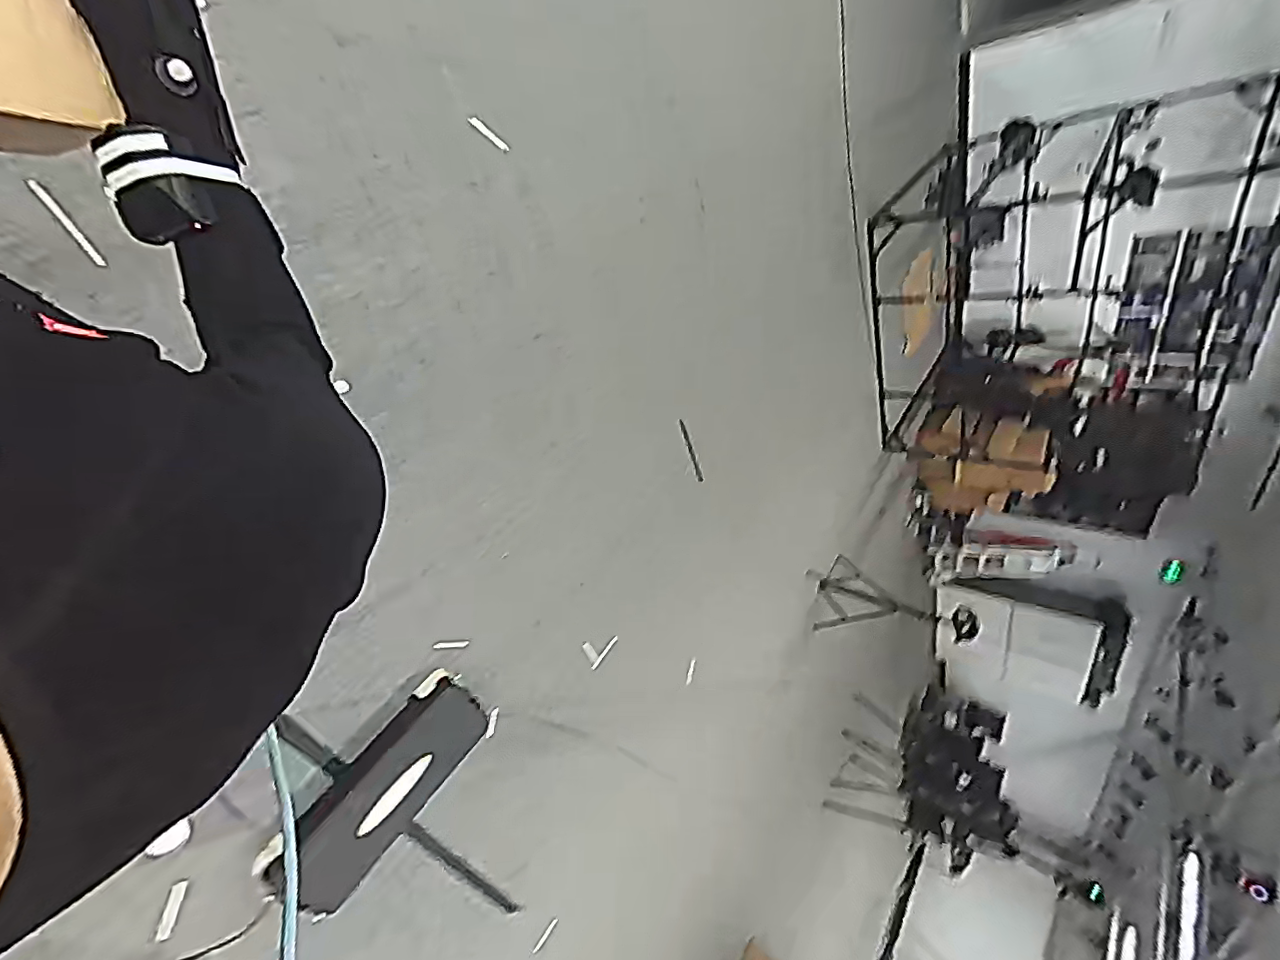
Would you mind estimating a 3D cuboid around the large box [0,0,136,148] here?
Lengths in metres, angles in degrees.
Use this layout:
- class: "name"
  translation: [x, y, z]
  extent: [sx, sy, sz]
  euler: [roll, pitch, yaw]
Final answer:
- class: "large box"
  translation: [-0.602, -0.395, 0.278]
  extent: [0.408, 0.320, 0.320]
  euler: [-22, 124, -50]
